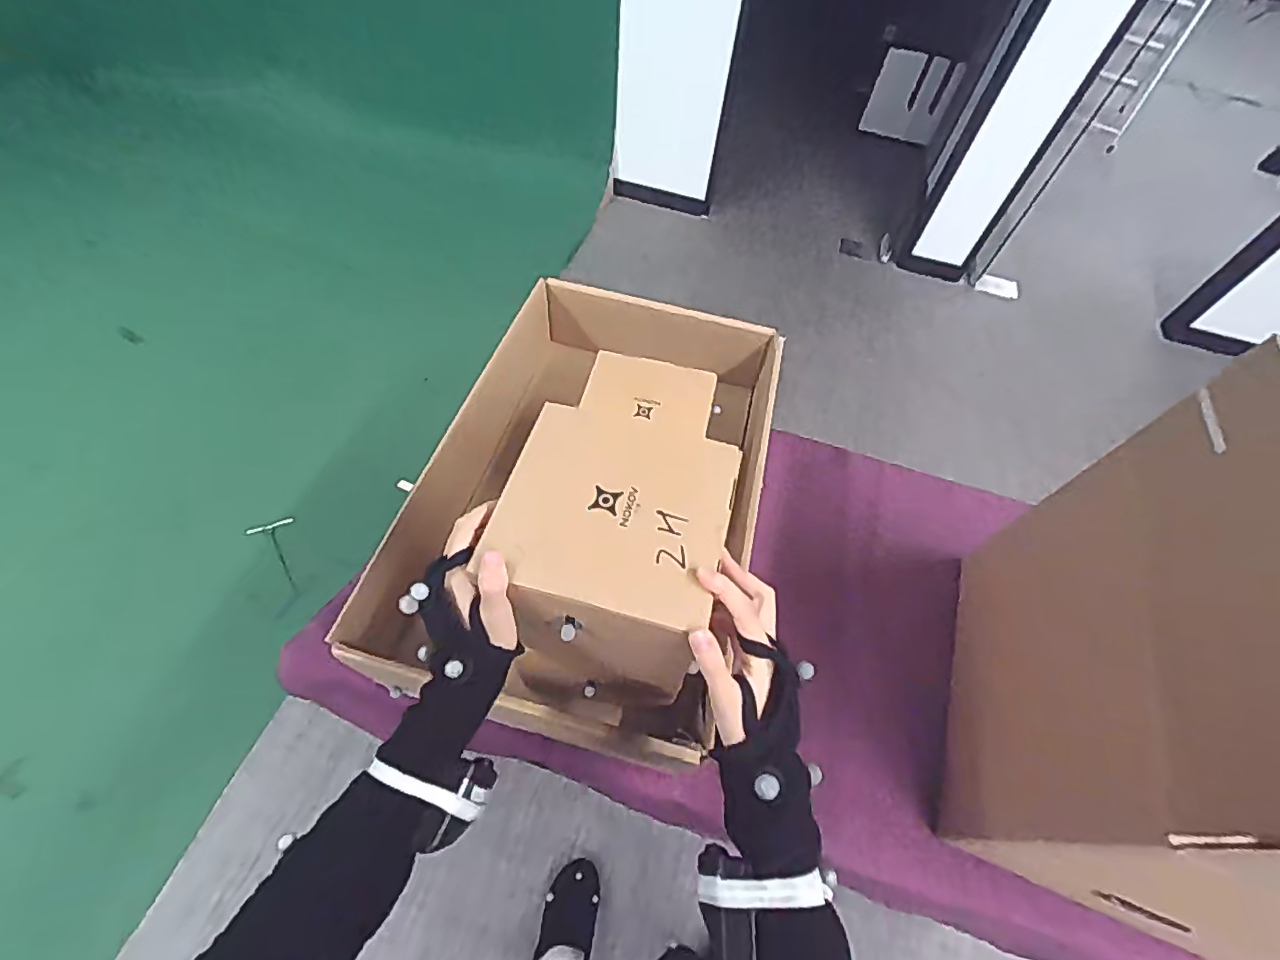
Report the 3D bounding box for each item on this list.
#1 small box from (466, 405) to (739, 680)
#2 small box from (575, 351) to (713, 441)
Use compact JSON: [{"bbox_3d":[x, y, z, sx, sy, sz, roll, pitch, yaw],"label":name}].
[{"bbox_3d":[-0.026,0.064,0.484,0.179,0.176,0.168,15,58,5],"label":"small box"},{"bbox_3d":[-0.001,-0.047,0.756,0.168,0.176,0.179,12,57,4],"label":"small box"}]
